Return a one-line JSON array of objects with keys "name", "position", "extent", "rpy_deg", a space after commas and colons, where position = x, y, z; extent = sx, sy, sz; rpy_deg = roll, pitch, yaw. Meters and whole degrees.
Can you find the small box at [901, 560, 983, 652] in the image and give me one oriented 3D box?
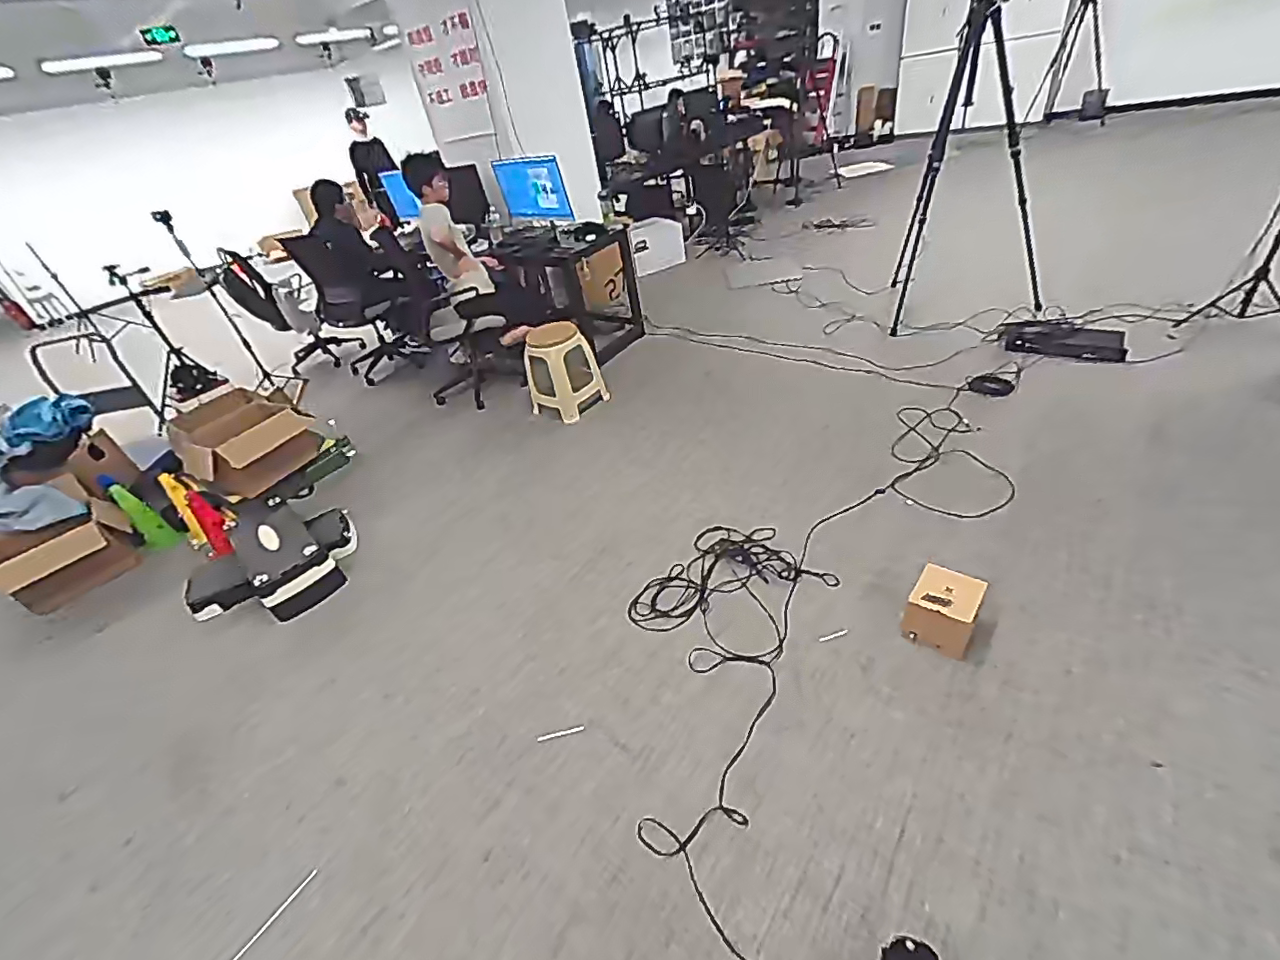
[{"name": "small box", "position": [0.896, 0.379, 1.617], "extent": [0.168, 0.176, 0.179], "rpy_deg": [20, 47, 36]}]
